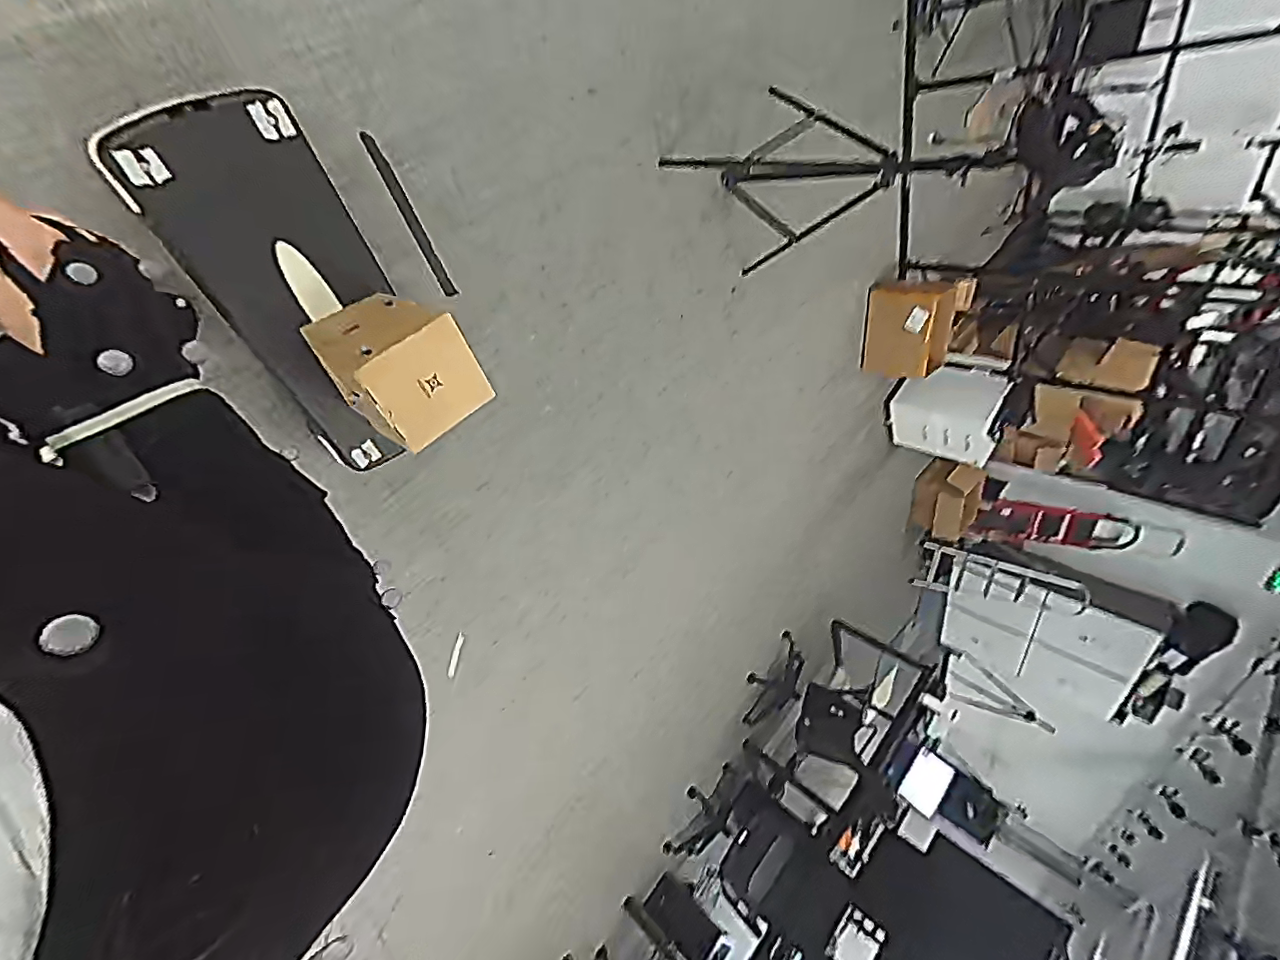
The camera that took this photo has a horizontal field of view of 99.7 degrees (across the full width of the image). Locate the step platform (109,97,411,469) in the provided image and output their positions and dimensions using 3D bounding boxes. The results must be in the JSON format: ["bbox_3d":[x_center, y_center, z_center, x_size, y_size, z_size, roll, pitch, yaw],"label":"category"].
[{"bbox_3d":[-0.647,-0.351,1.089,0.286,0.204,0.684,-43,133,-26],"label":"step platform"}]

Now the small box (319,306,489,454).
[{"bbox_3d":[-0.400,-0.178,0.918,0.179,0.176,0.168,-43,135,-24],"label":"small box"}]
